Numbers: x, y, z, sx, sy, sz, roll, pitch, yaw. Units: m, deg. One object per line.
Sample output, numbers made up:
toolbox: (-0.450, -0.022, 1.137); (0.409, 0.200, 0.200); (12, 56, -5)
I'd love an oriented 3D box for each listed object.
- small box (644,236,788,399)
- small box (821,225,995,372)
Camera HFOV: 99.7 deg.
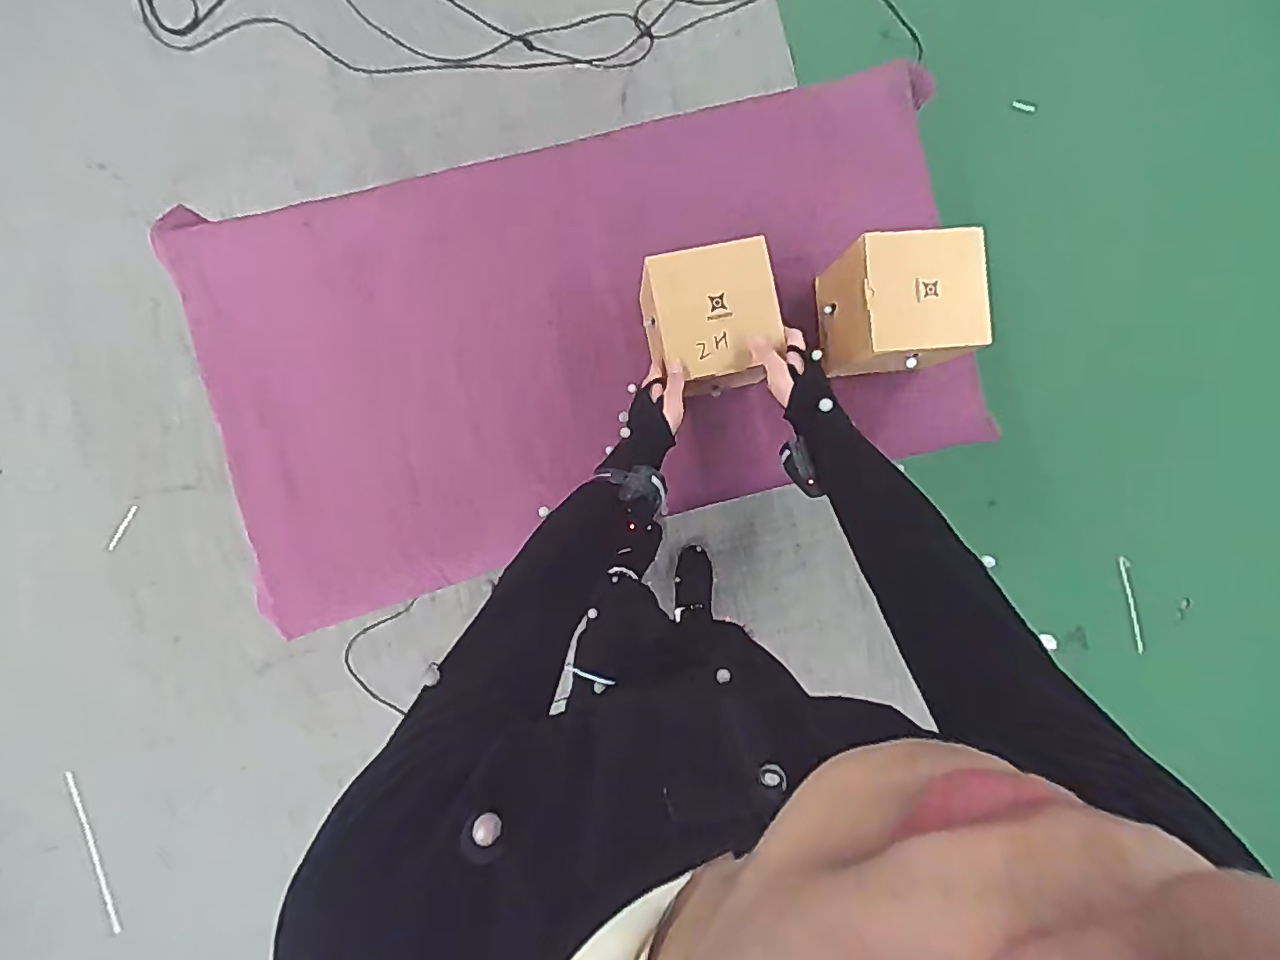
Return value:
small box: (0.101, -0.227, 0.796); (0.168, 0.176, 0.179); (-11, 92, -1)
small box: (0.393, -0.263, 0.815); (0.179, 0.176, 0.168); (-5, 91, -2)
